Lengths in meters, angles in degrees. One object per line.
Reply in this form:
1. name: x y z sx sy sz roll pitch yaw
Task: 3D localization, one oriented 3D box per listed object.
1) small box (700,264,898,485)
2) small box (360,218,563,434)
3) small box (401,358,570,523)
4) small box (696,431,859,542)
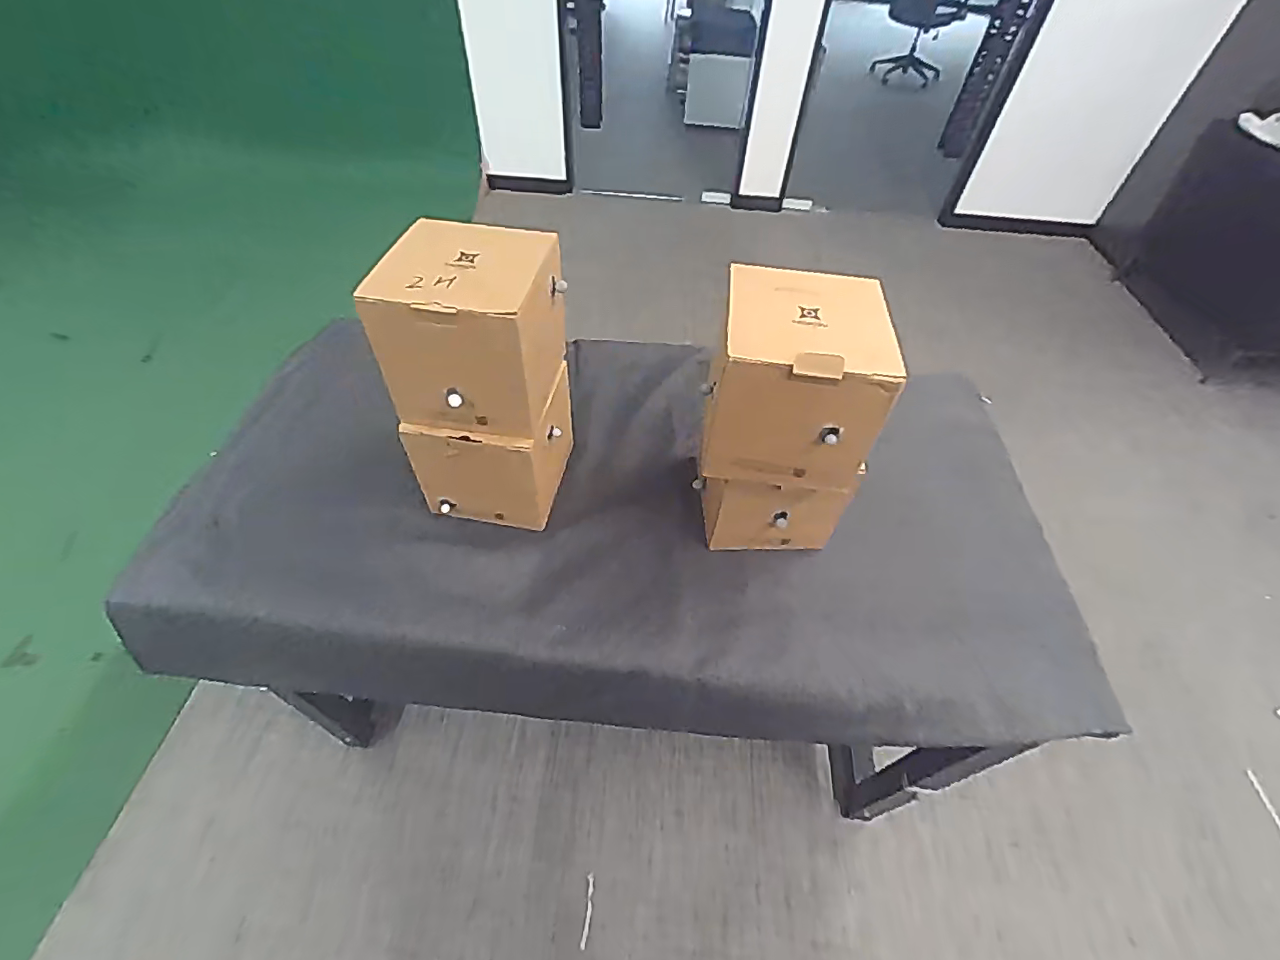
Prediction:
1. small box: 0.162 -0.115 0.608 0.168 0.176 0.179 8 49 2
2. small box: -0.190 -0.181 0.640 0.168 0.176 0.179 7 50 3
3. small box: -0.198 -0.062 0.755 0.168 0.176 0.179 9 49 4
4. small box: 0.174 -0.026 0.748 0.168 0.176 0.179 0 51 -4
